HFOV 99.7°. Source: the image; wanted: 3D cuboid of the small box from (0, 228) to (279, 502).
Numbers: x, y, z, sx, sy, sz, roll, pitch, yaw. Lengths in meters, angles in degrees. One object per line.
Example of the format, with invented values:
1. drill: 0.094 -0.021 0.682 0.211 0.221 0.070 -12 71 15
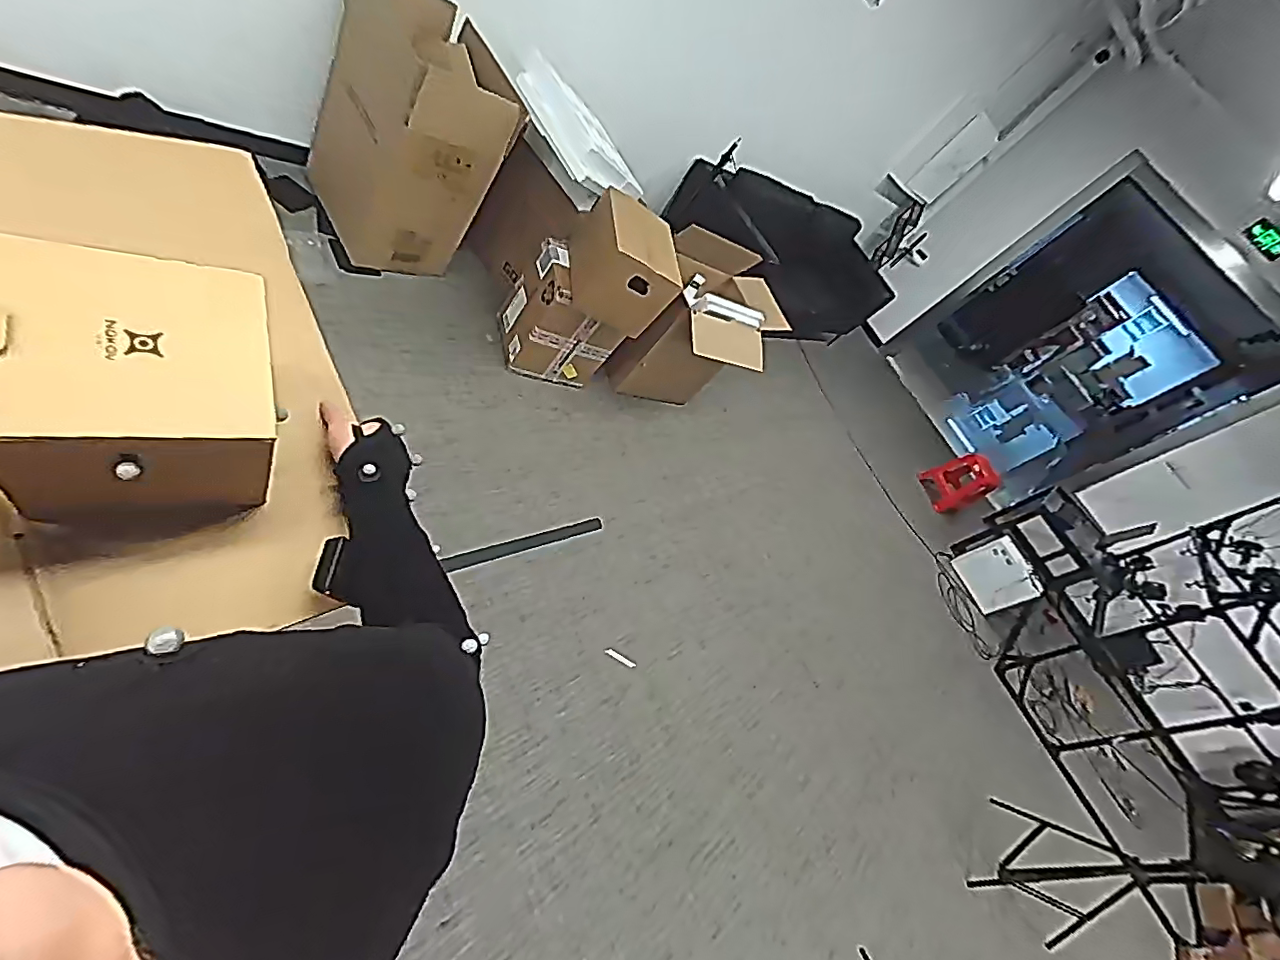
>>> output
1. small box: -0.442 -0.085 0.488 0.179 0.176 0.168 -3 71 -38
